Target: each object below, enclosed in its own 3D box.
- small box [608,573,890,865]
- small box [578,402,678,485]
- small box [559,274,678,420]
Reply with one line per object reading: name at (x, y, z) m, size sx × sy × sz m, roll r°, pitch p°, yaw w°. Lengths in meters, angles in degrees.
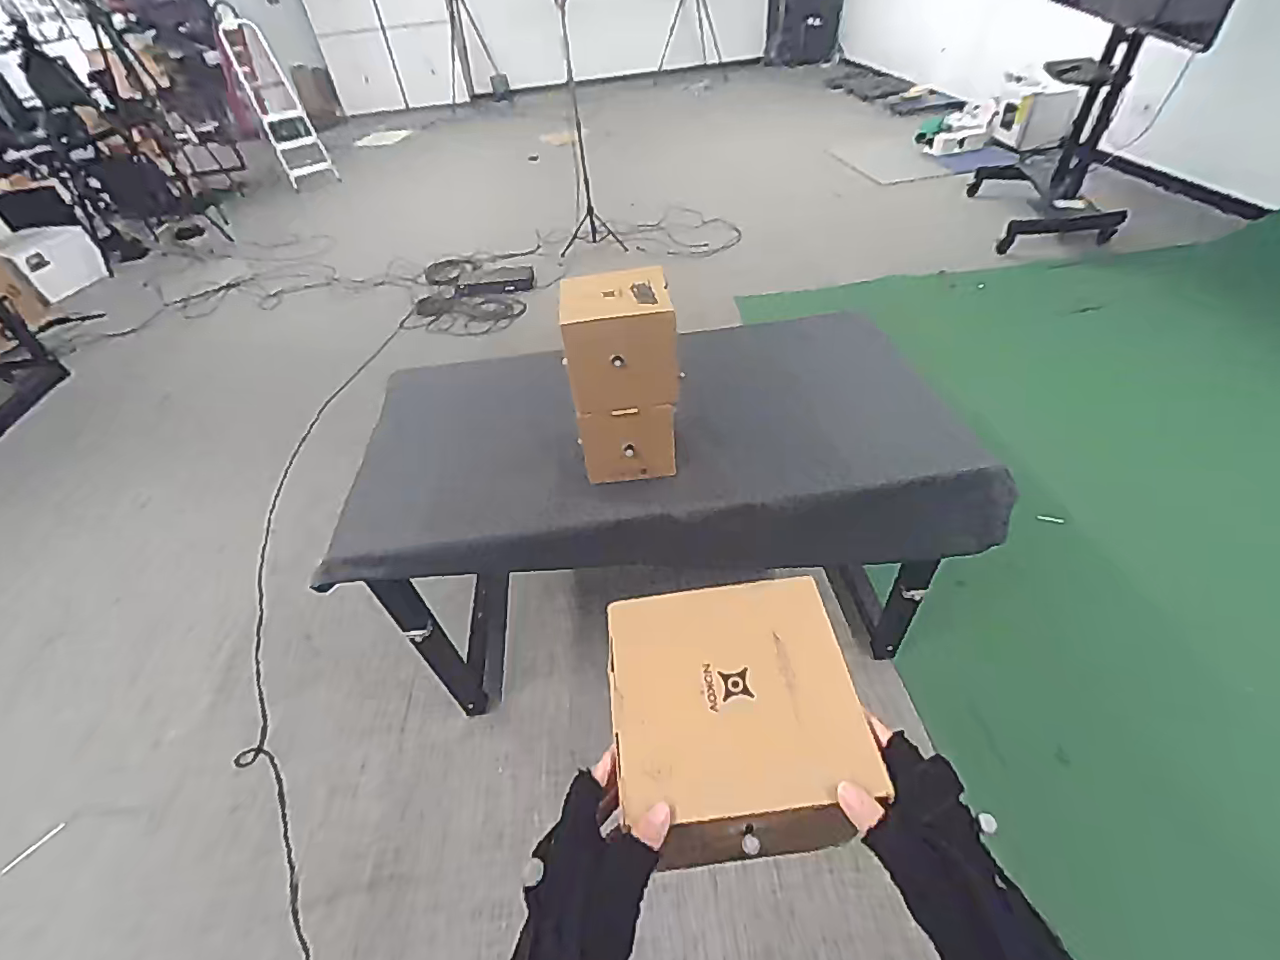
small box at (0.076, 0.205, 0.457) m, size 0.179 × 0.176 × 0.168 m, roll -9°, pitch 47°, yaw -1°
small box at (-0.021, -0.105, 1.027) m, size 0.168 × 0.176 × 0.179 m, roll -8°, pitch 44°, yaw 1°
small box at (-0.032, -0.222, 0.911) m, size 0.179 × 0.176 × 0.168 m, roll -9°, pitch 43°, yaw 1°
